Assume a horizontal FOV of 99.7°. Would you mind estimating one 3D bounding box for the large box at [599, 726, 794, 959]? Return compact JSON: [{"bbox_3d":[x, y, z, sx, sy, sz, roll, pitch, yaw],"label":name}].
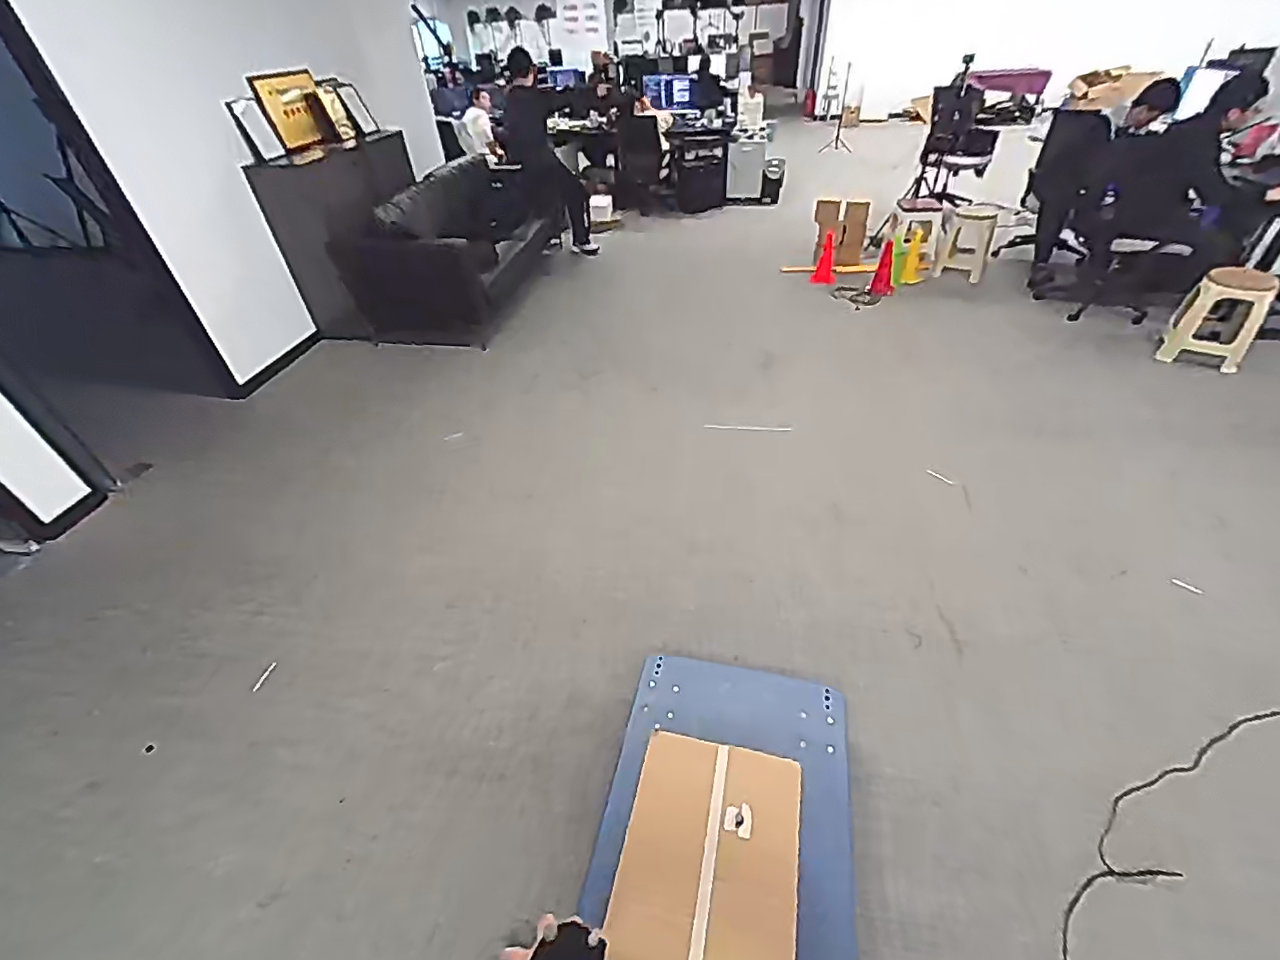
[{"bbox_3d":[0.132,0.791,1.089,0.320,0.320,0.408,7,39,13],"label":"large box"}]
